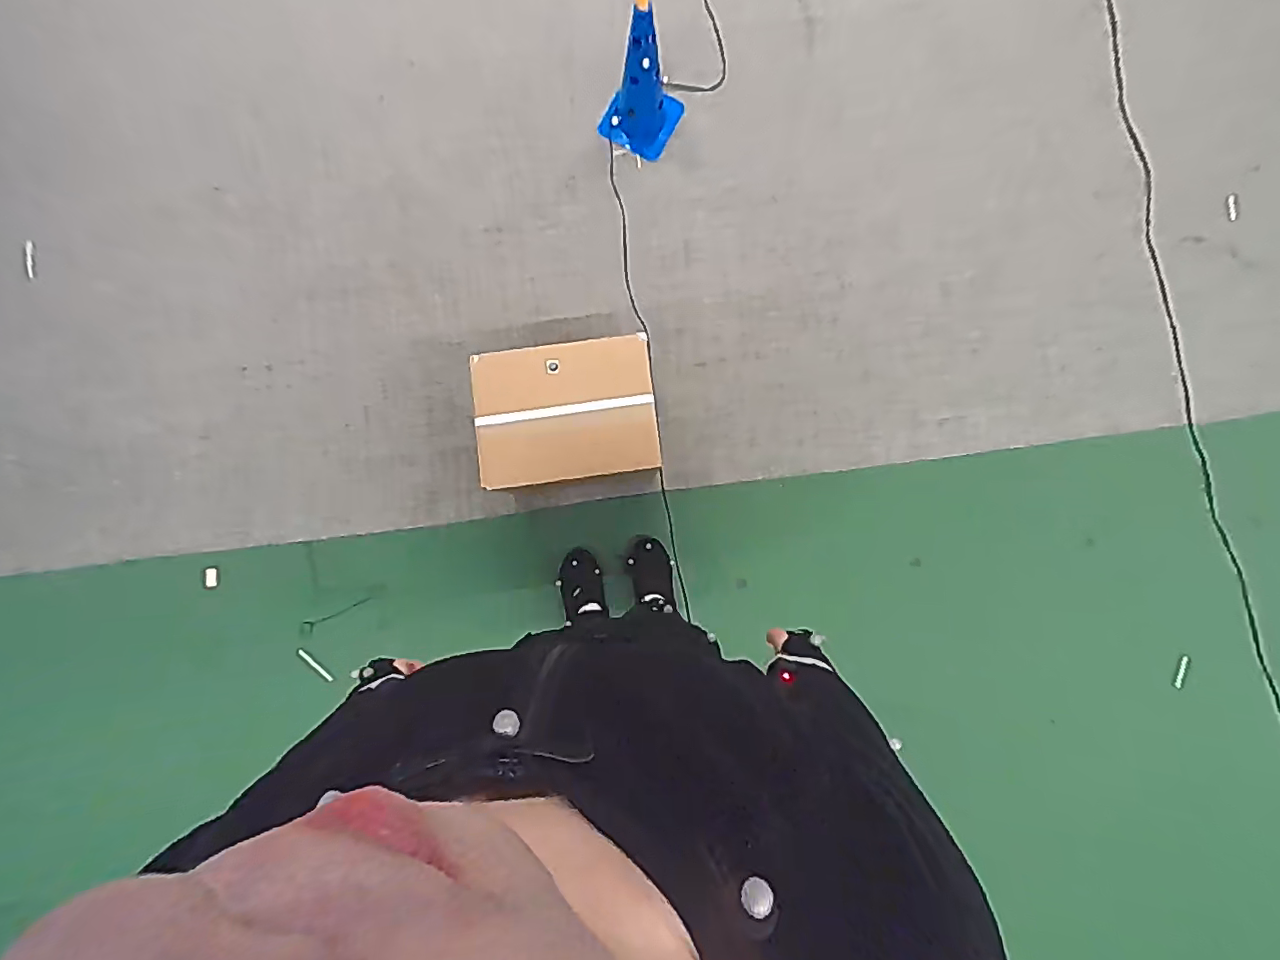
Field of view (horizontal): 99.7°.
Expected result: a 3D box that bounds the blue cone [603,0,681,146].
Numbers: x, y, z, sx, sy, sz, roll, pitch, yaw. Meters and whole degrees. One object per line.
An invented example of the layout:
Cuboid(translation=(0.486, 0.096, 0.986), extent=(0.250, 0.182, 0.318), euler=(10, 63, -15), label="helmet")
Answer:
Cuboid(translation=(0.008, -1.062, 1.368), extent=(0.192, 0.380, 0.193), euler=(26, 88, 1), label="blue cone")
